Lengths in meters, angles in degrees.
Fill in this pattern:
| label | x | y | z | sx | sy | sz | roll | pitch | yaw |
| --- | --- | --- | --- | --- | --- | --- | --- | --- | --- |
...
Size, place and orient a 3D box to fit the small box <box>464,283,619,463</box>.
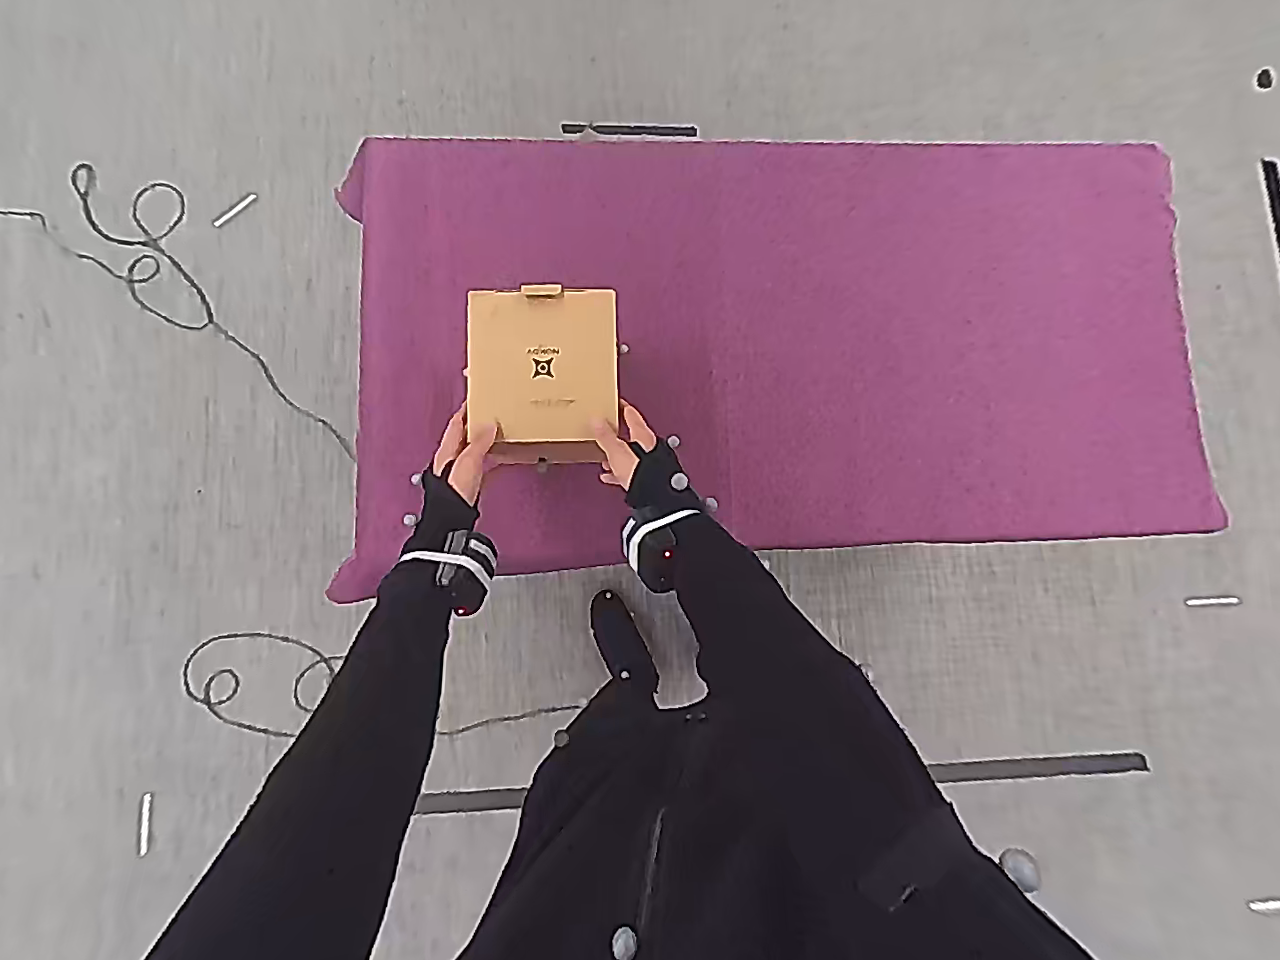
| label | x | y | z | sx | sy | sz | roll | pitch | yaw |
| --- | --- | --- | --- | --- | --- | --- | --- | --- | --- |
| small box | -0.110 | -0.120 | 0.665 | 0.168 | 0.176 | 0.179 | 0 | 84 | -3 |
